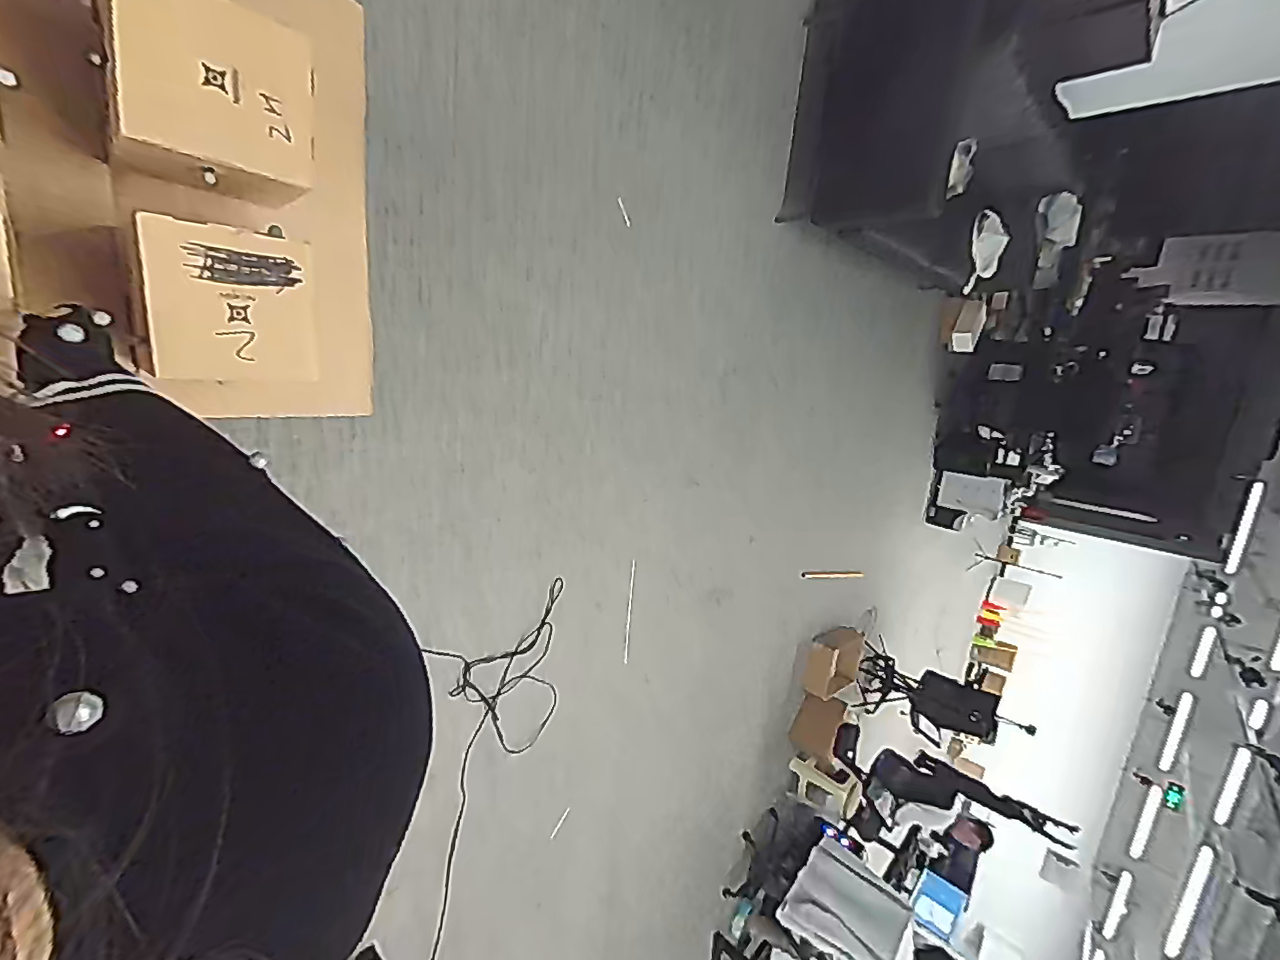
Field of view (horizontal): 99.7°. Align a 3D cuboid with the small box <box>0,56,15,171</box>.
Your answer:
[{"bbox_3d":[-0.677,-0.394,0.462,0.168,0.176,0.179,-9,107,-44],"label":"small box"}]
